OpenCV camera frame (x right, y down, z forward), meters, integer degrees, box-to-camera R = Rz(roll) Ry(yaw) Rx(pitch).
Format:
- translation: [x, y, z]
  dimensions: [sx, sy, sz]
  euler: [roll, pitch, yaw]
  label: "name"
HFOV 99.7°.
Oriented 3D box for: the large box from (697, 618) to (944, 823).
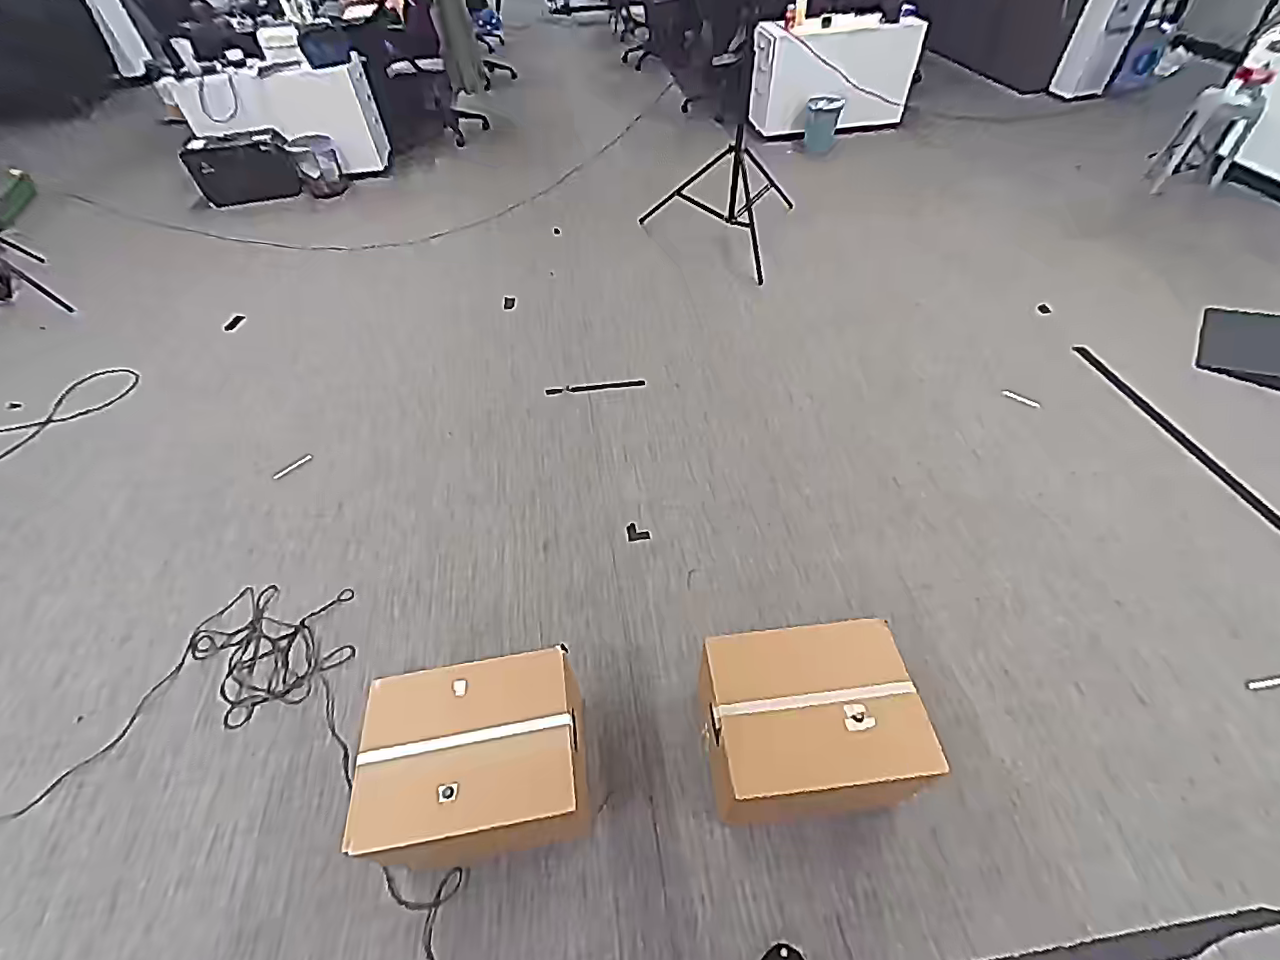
- translation: [0.359, 0.538, 1.204]
  dimensions: [0.408, 0.320, 0.320]
  euler: [-5, 50, -3]
  label: "large box"
